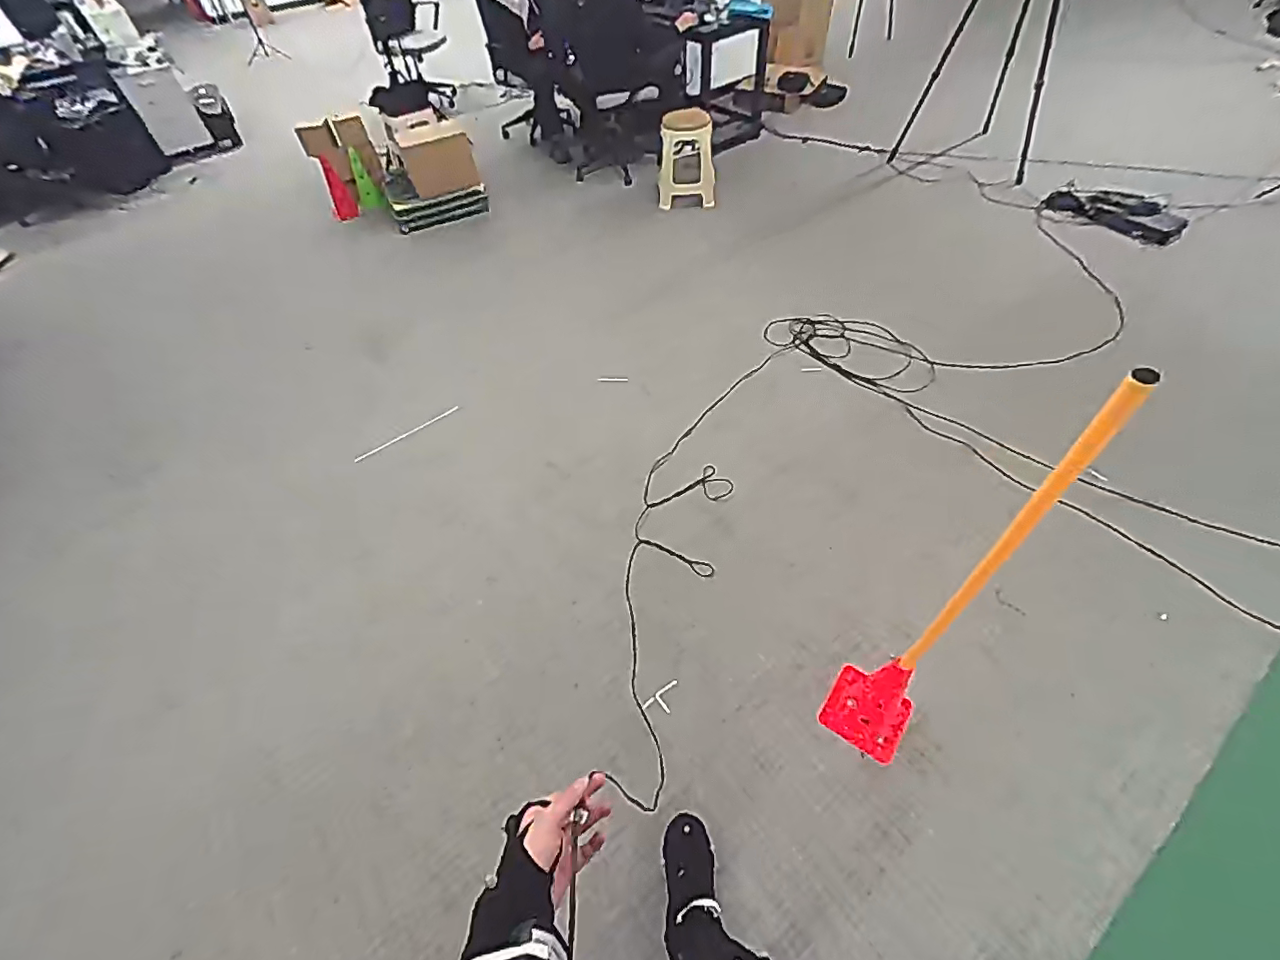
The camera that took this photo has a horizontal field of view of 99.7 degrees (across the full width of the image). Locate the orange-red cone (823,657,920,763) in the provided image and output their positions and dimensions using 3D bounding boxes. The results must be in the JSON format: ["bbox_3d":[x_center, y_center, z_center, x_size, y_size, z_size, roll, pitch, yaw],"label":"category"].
[{"bbox_3d":[0.612,0.521,1.335,0.198,0.360,0.199,29,58,25],"label":"orange-red cone"}]
